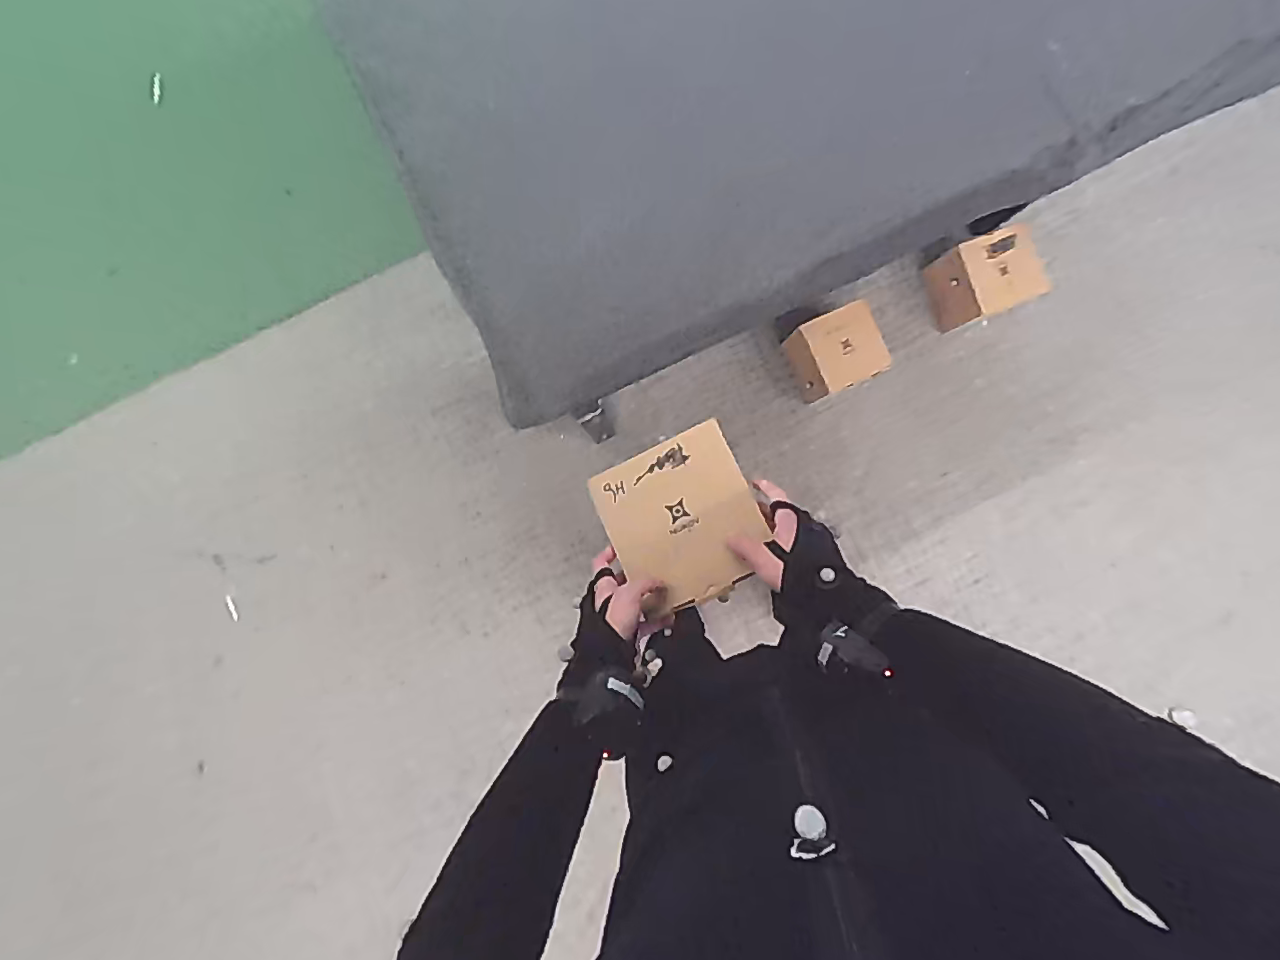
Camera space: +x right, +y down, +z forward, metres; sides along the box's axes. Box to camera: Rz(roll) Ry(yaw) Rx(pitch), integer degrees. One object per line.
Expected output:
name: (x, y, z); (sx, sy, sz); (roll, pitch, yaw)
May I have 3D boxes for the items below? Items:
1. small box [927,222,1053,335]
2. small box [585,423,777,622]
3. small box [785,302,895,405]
small box: (0.836, -0.480, 1.311); (0.168, 0.176, 0.179); (-22, 89, 0)
small box: (0.058, 0.055, 0.666); (0.168, 0.176, 0.179); (-25, 77, 8)
small box: (0.477, -0.296, 1.316); (0.168, 0.176, 0.179); (-25, 86, -1)
